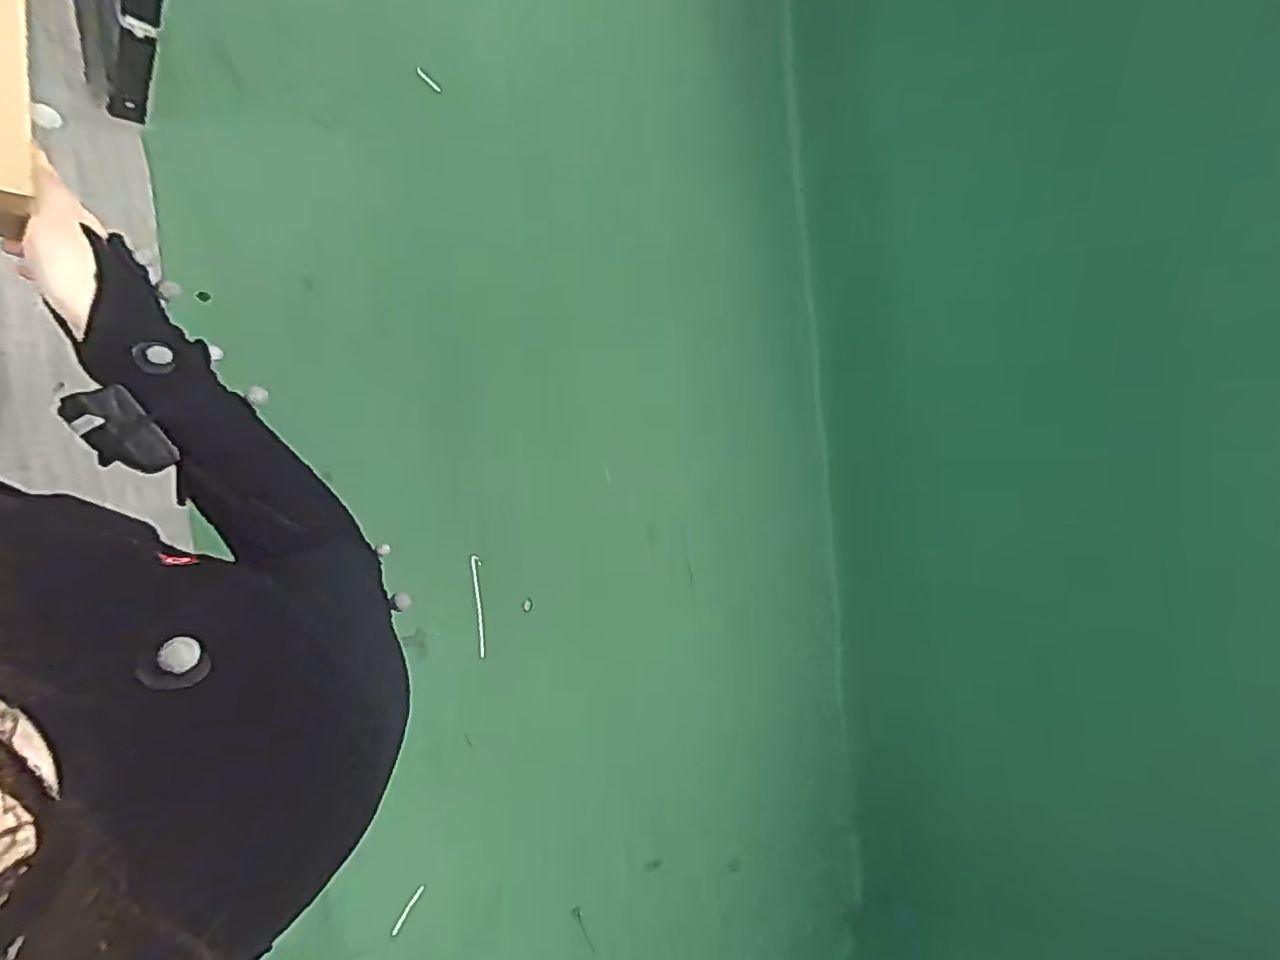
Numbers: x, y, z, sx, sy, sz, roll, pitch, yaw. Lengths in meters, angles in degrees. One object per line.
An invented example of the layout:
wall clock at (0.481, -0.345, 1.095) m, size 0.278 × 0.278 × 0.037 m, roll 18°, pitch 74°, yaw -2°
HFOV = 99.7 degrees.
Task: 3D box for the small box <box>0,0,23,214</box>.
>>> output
small box at (-0.435, -0.245, 0.262) m, size 0.179 × 0.176 × 0.168 m, roll -3°, pitch 101°, yaw -50°
